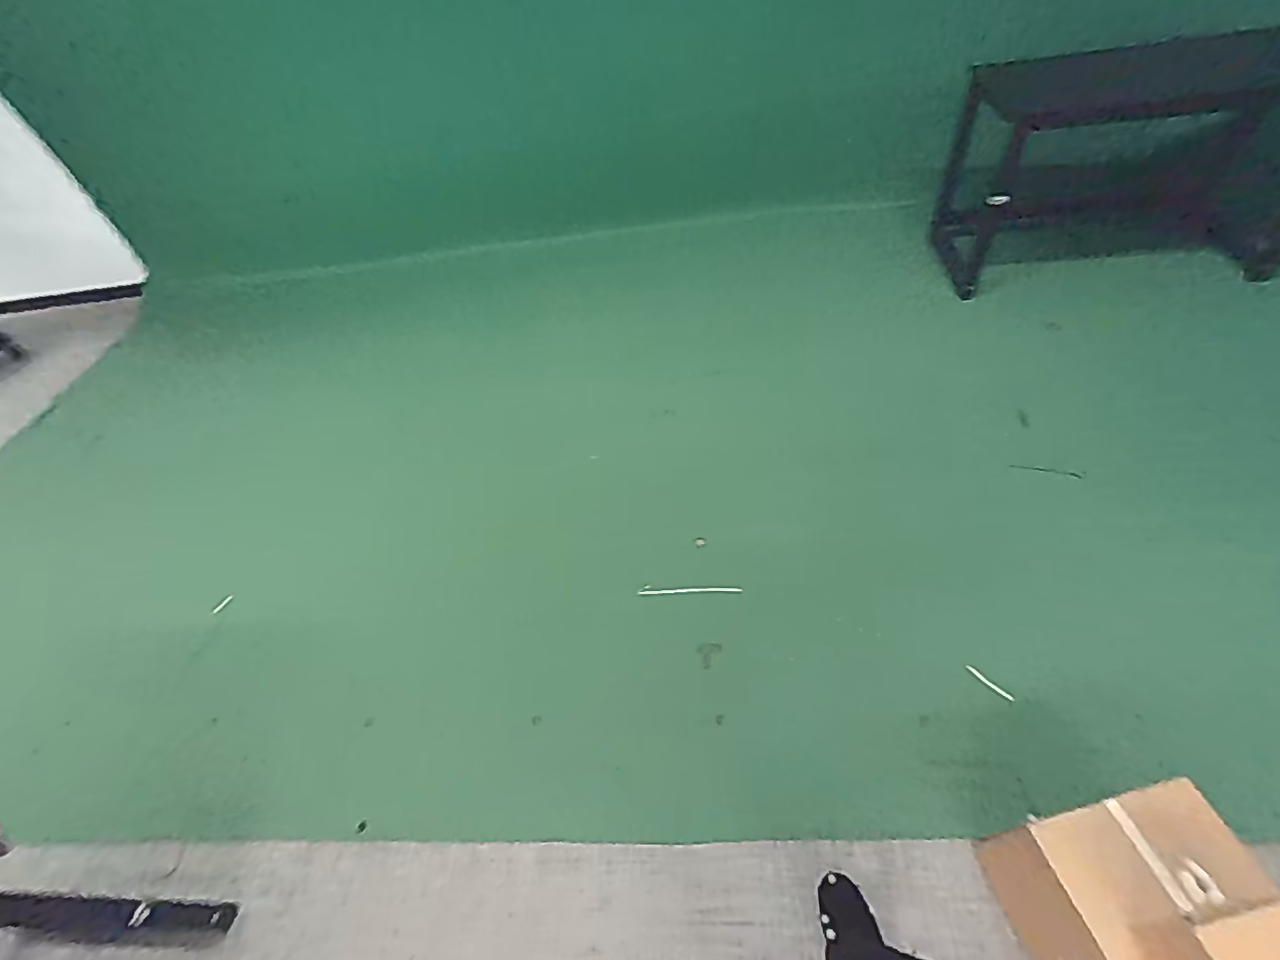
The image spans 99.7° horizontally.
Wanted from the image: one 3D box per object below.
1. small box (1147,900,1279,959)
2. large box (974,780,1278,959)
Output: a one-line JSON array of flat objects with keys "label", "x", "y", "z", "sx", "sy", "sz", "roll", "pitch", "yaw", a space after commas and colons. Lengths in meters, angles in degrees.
[{"label": "small box", "x": 0.851, "y": 0.691, "z": 0.729, "sx": 0.179, "sy": 0.176, "sz": 0.168, "roll": -15, "pitch": 49, "yaw": -1}, {"label": "large box", "x": 0.888, "y": 0.816, "z": 0.942, "sx": 0.320, "sy": 0.320, "sz": 0.408, "roll": -14, "pitch": 47, "yaw": -3}]
